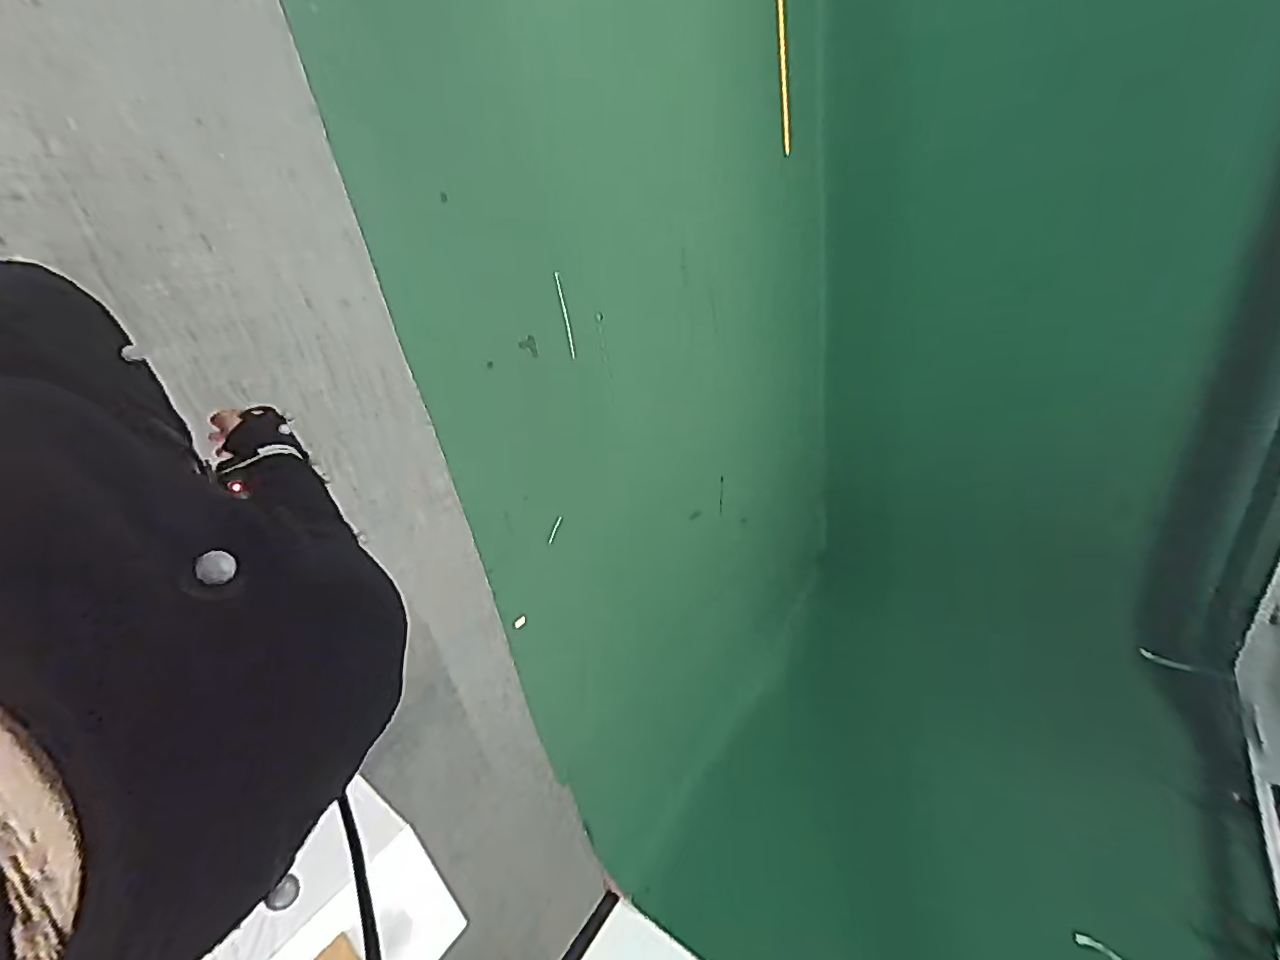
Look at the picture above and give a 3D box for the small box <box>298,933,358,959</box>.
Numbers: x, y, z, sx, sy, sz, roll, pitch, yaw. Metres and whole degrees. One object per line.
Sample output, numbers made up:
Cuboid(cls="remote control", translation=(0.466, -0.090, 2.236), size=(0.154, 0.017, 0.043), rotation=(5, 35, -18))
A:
Cuboid(cls="small box", translation=(-0.559, 0.970, 0.959), size=(0.168, 0.176, 0.179), rotation=(-34, 125, -44))
